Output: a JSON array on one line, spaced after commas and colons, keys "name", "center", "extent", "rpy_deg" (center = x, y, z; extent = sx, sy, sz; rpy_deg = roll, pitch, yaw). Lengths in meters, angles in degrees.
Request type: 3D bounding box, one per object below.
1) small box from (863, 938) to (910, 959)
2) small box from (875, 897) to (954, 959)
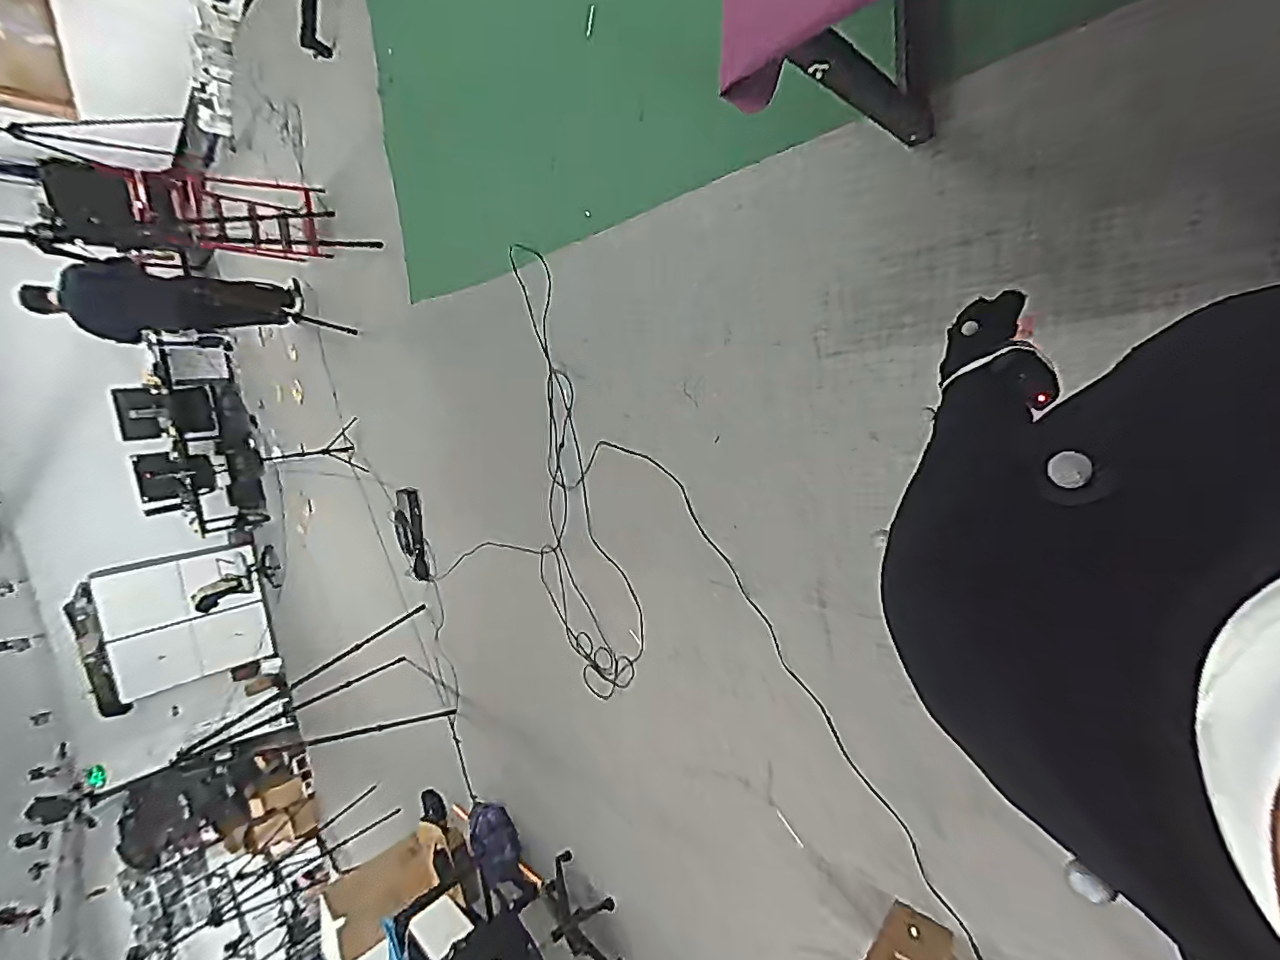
[{"name": "small box", "center": [0.699, 1.441, 1.495], "extent": [0.168, 0.176, 0.179], "rpy_deg": [6, 106, 44]}, {"name": "small box", "center": [0.817, 1.406, 1.608], "extent": [0.168, 0.176, 0.179], "rpy_deg": [2, 101, 47]}]
